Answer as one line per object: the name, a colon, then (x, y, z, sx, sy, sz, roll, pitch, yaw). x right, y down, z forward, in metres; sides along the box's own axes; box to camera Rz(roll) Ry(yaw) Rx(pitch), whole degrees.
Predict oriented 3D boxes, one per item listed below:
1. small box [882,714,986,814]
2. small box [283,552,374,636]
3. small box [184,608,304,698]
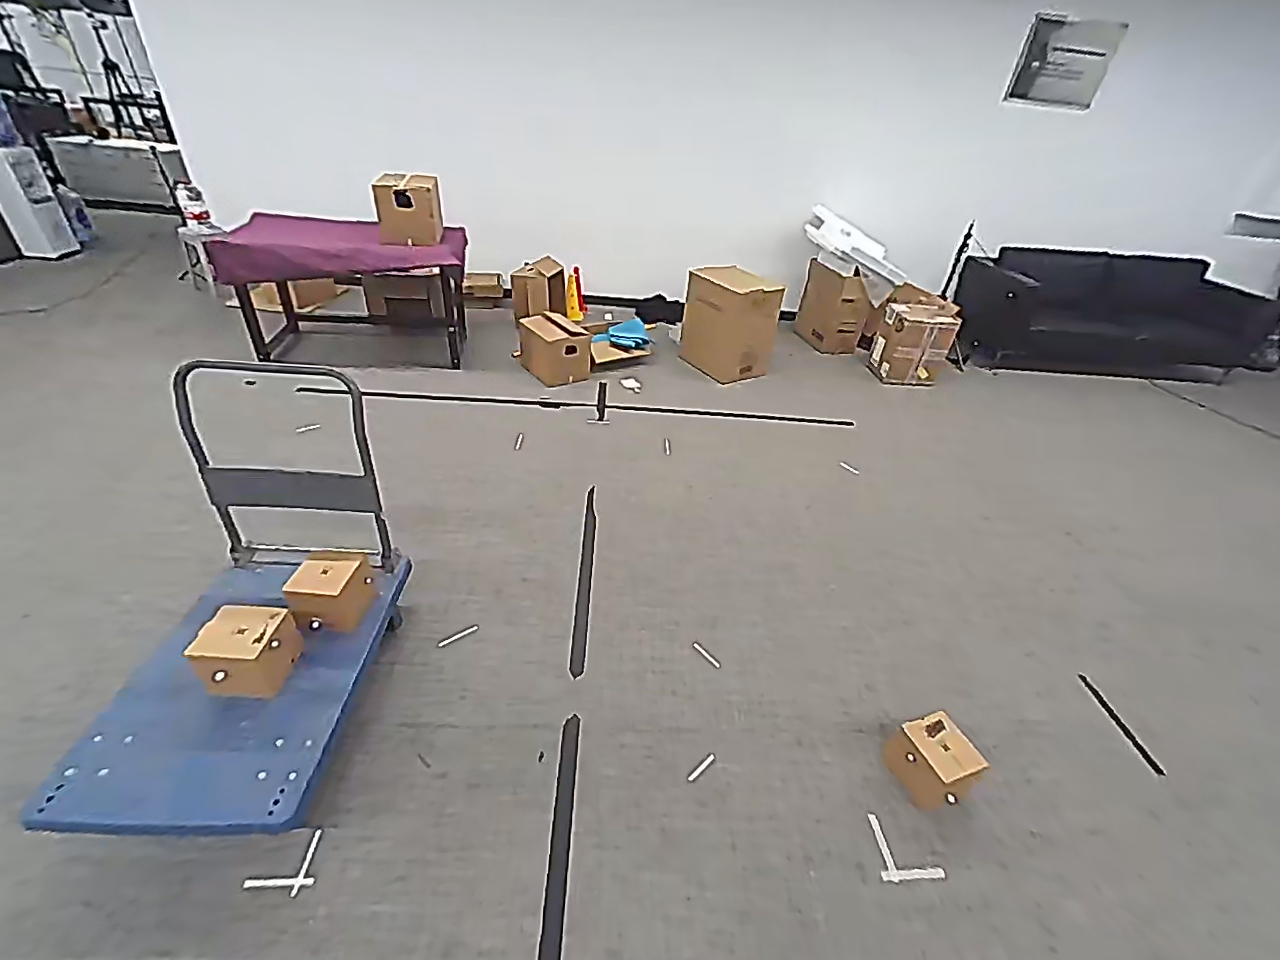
small box: (0.843, 0.824, 1.571, 0.168, 0.176, 0.179, -8, 38, -19)
small box: (-0.931, 0.344, 1.641, 0.168, 0.176, 0.179, 4, 36, 1)
small box: (-1.048, 0.464, 1.447, 0.179, 0.176, 0.168, 4, 36, -2)
